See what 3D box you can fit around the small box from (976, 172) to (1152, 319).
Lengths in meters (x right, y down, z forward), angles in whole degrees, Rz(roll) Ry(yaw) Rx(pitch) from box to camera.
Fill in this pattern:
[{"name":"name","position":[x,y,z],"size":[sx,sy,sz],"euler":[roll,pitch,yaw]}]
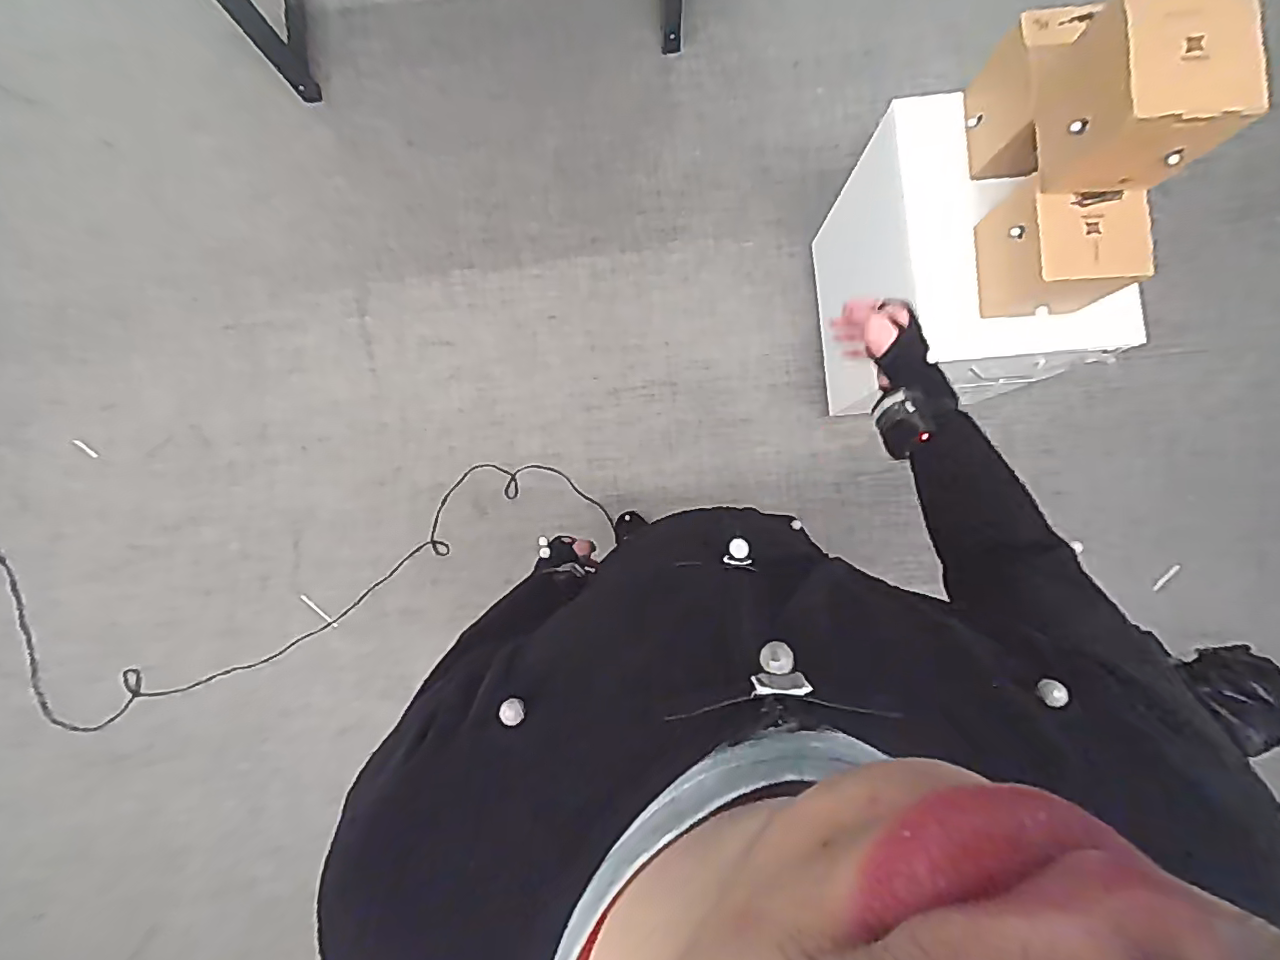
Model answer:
[{"name":"small box","position":[0.689,-0.383,0.899],"size":[0.168,0.176,0.179],"euler":[-2,87,3]}]

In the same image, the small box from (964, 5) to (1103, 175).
[{"name":"small box","position":[0.679,-0.643,0.914],"size":[0.168,0.176,0.179],"euler":[-4,89,2]}]

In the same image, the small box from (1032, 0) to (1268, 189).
[{"name":"small box","position":[0.682,-0.526,0.746],"size":[0.168,0.176,0.179],"euler":[-3,86,1]}]
